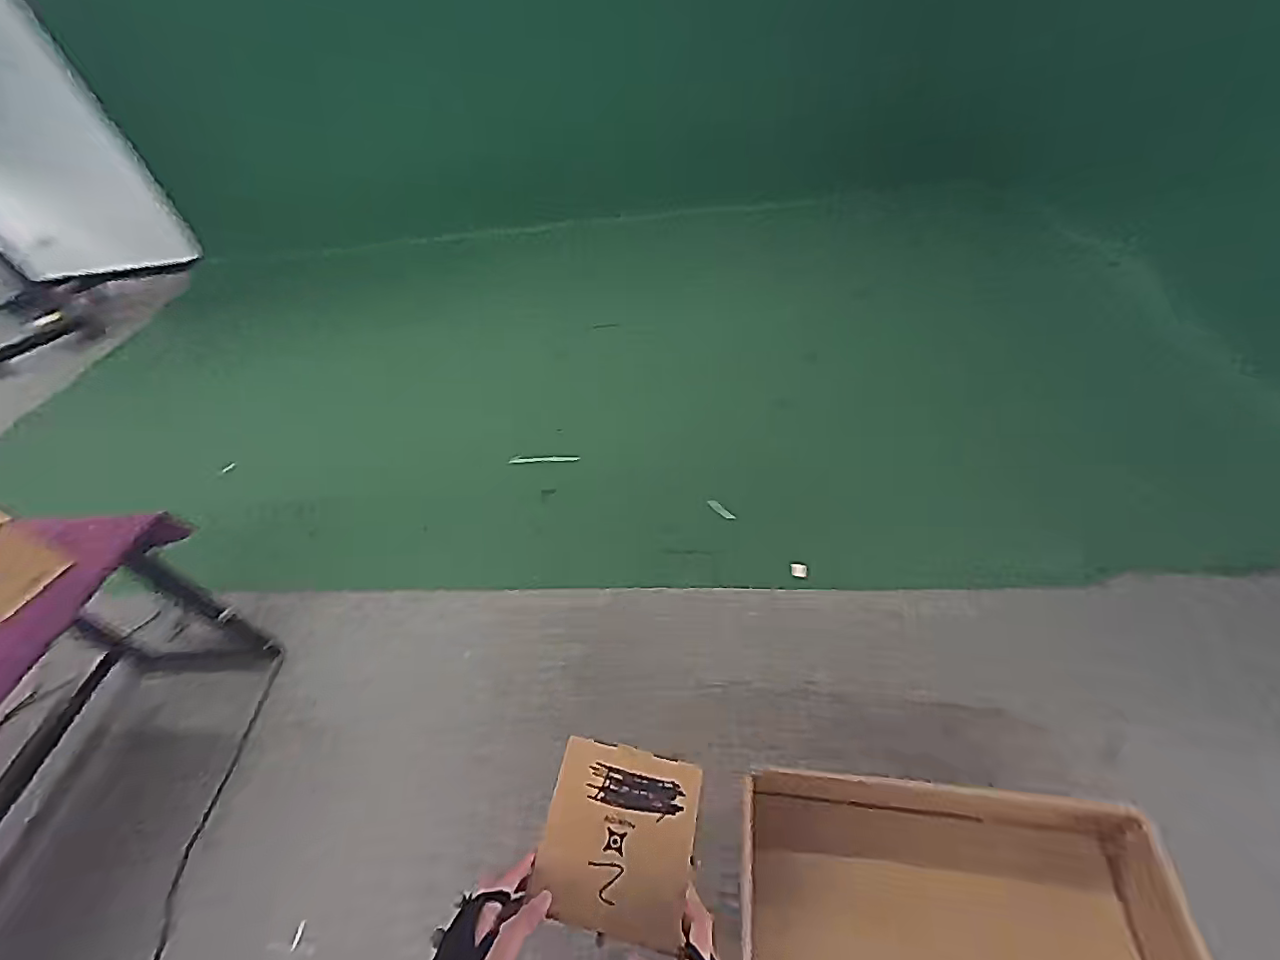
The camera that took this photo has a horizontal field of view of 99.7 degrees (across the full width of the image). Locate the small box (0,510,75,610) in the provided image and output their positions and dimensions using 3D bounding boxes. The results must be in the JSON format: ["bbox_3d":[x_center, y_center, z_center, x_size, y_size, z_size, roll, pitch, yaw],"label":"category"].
[{"bbox_3d":[-1.438,0.168,1.200,0.179,0.176,0.168,11,53,23],"label":"small box"}]
